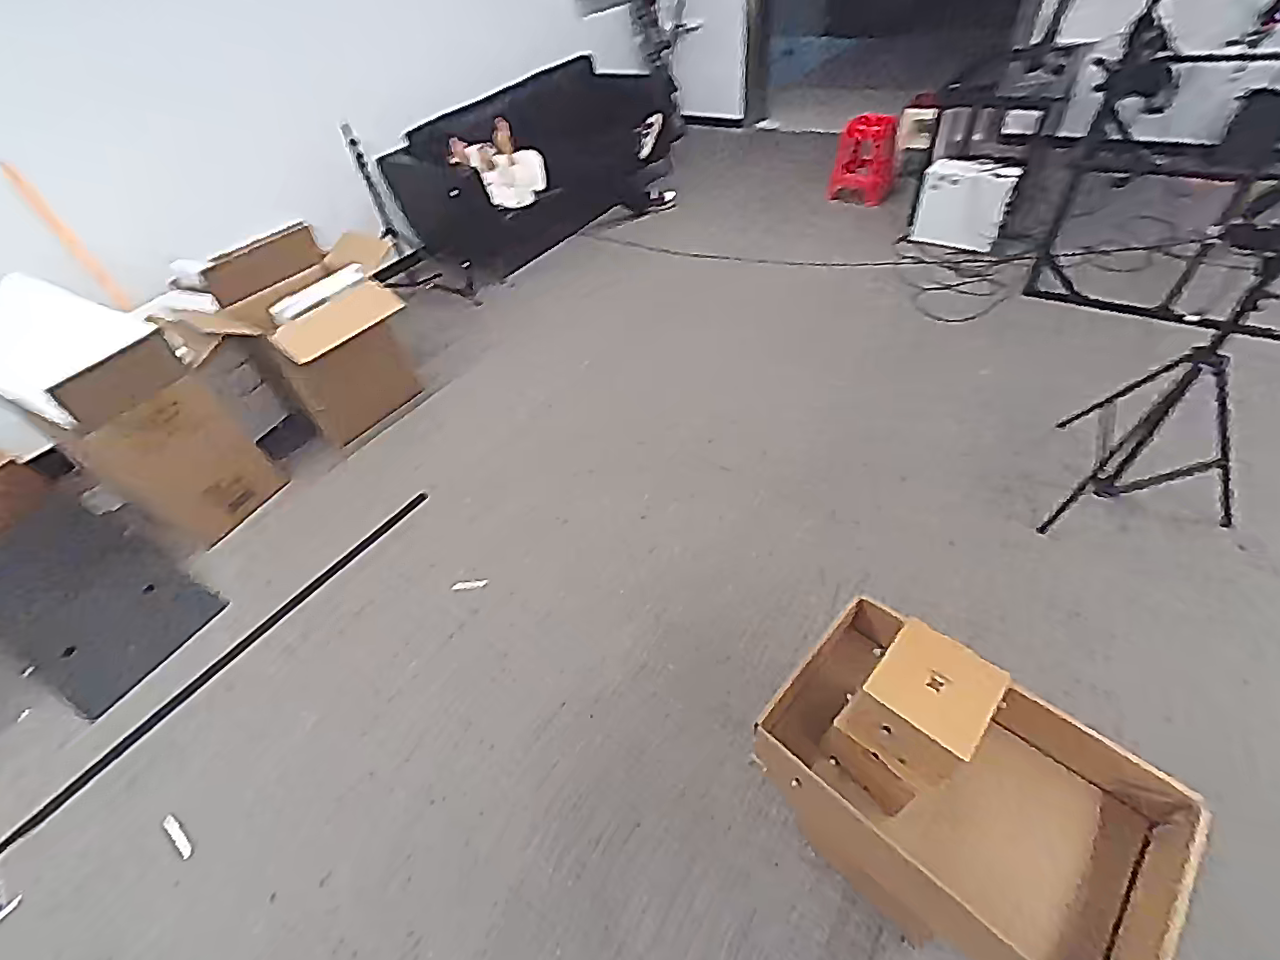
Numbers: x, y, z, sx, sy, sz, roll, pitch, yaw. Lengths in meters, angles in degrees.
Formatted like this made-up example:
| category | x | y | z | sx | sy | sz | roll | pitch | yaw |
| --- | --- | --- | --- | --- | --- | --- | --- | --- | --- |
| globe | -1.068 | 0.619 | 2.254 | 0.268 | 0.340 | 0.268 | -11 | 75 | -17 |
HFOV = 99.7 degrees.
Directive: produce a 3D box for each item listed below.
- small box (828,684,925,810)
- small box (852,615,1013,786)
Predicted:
| category | x | y | z | sx | sy | sz | roll | pitch | yaw |
| --- | --- | --- | --- | --- | --- | --- | --- | --- | --- |
| small box | 0.478 | 0.485 | 1.028 | 0.179 | 0.176 | 0.168 | -36 | 53 | -25 |
| small box | 0.478 | 0.372 | 0.910 | 0.168 | 0.176 | 0.179 | 33 | 58 | 31 |
